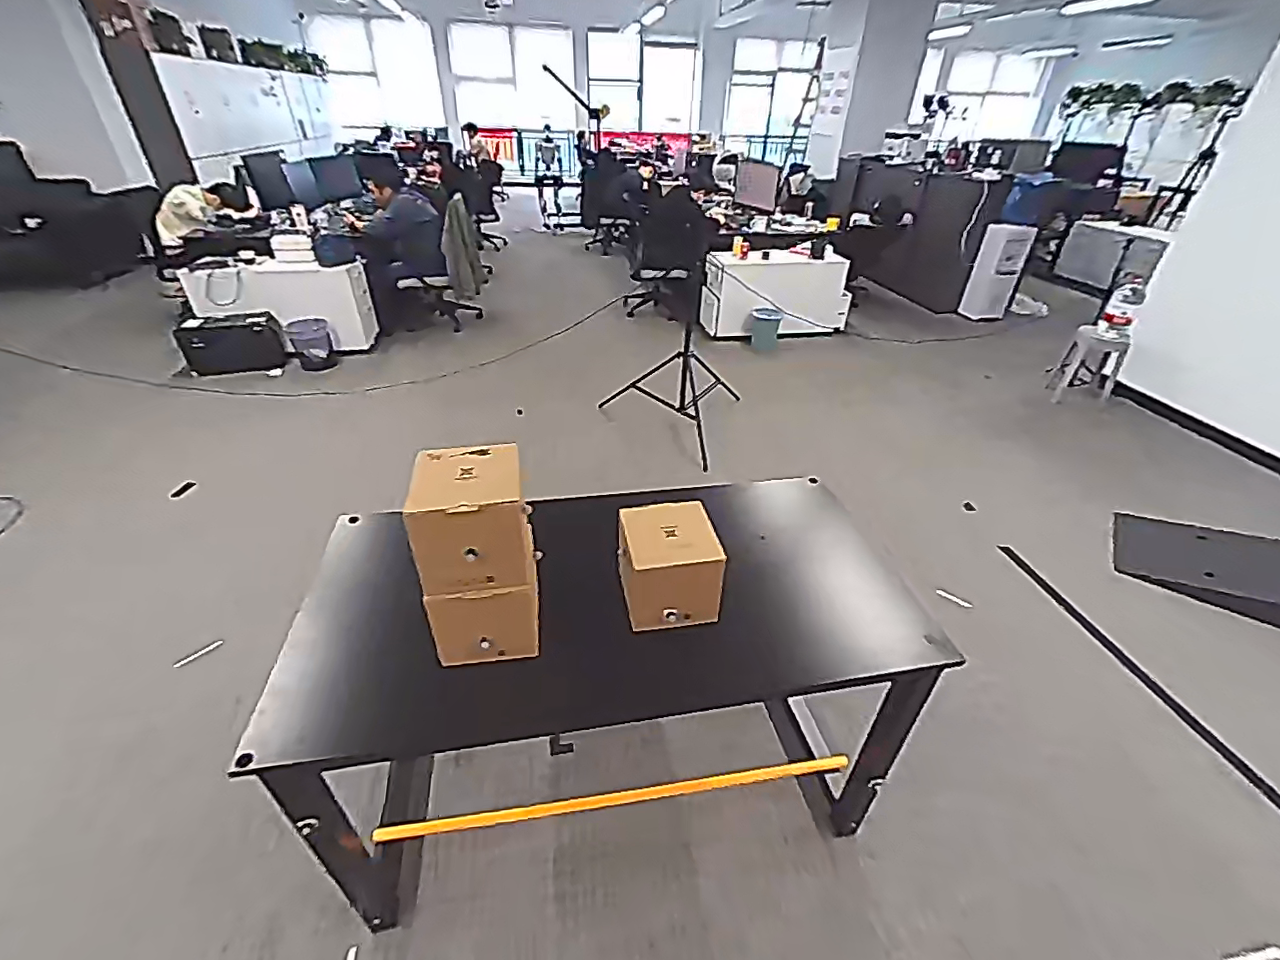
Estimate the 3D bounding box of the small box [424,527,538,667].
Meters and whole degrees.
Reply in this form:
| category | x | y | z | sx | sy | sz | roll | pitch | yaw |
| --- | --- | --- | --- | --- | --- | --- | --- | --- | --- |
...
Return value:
| category | x | y | z | sx | sy | sz | roll | pitch | yaw |
| --- | --- | --- | --- | --- | --- | --- | --- | --- | --- |
| small box | -0.277 | 0.208 | 0.979 | 0.168 | 0.176 | 0.179 | -5 | 34 | -8 |

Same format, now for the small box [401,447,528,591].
| category | x | y | z | sx | sy | sz | roll | pitch | yaw |
| --- | --- | --- | --- | --- | --- | --- | --- | --- | --- |
| small box | -0.278 | 0.068 | 0.894 | 0.168 | 0.176 | 0.179 | -6 | 35 | -10 |

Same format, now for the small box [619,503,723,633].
| category | x | y | z | sx | sy | sz | roll | pitch | yaw |
| --- | --- | --- | --- | --- | --- | --- | --- | --- | --- |
| small box | 0.051 | 0.168 | 1.052 | 0.168 | 0.176 | 0.179 | -7 | 36 | -9 |
